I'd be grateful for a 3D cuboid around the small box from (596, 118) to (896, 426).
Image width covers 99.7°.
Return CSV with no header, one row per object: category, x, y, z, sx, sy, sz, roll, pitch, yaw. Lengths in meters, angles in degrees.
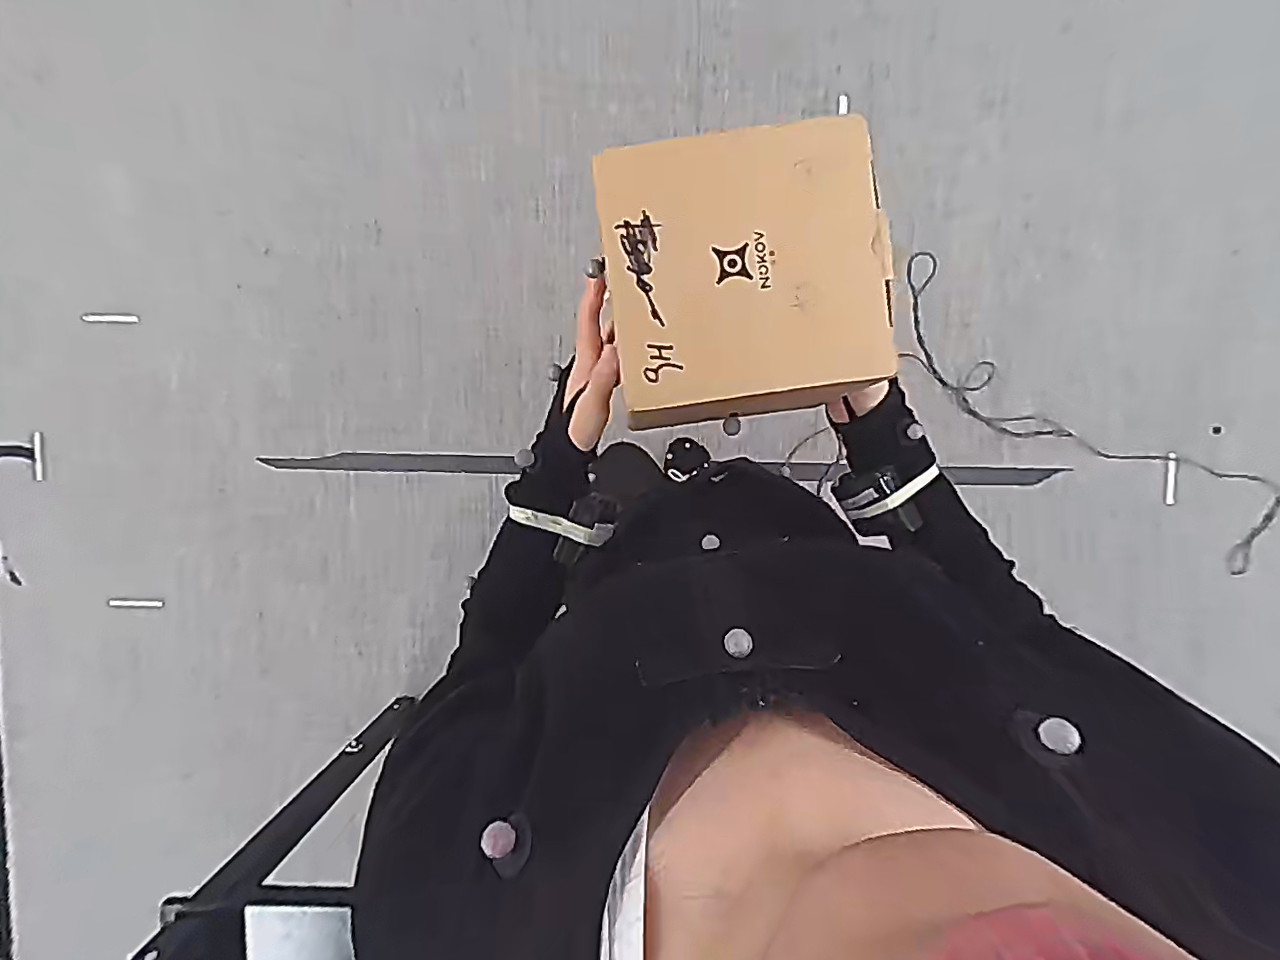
small box,0.065,-0.137,0.417,0.179,0.176,0.168,-8,91,-1
